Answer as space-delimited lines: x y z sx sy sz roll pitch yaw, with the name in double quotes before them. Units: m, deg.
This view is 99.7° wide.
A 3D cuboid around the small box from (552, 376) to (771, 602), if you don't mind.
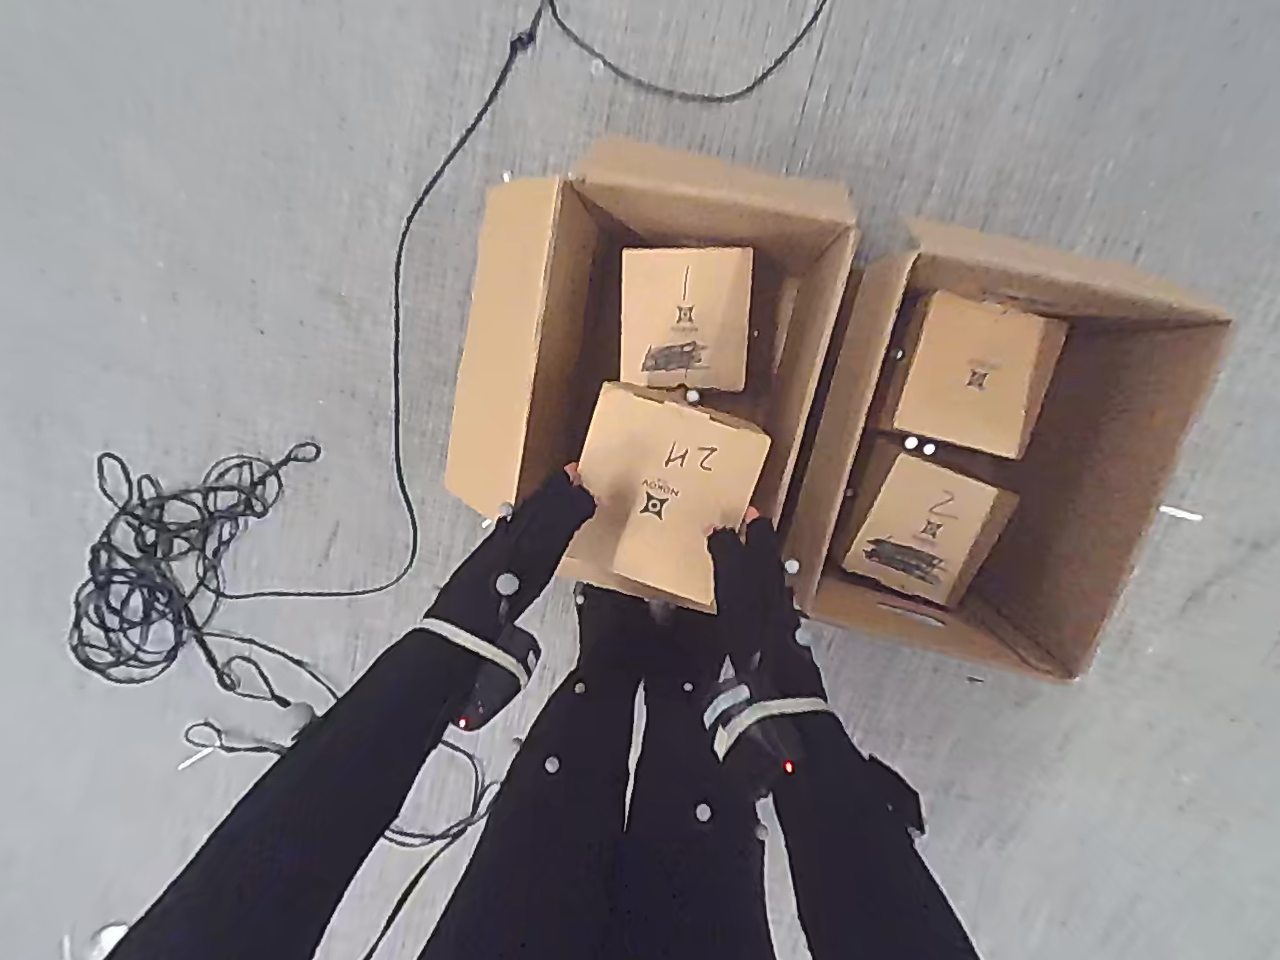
"small box" 0.025 -0.003 0.577 0.168 0.176 0.179 19 102 3
